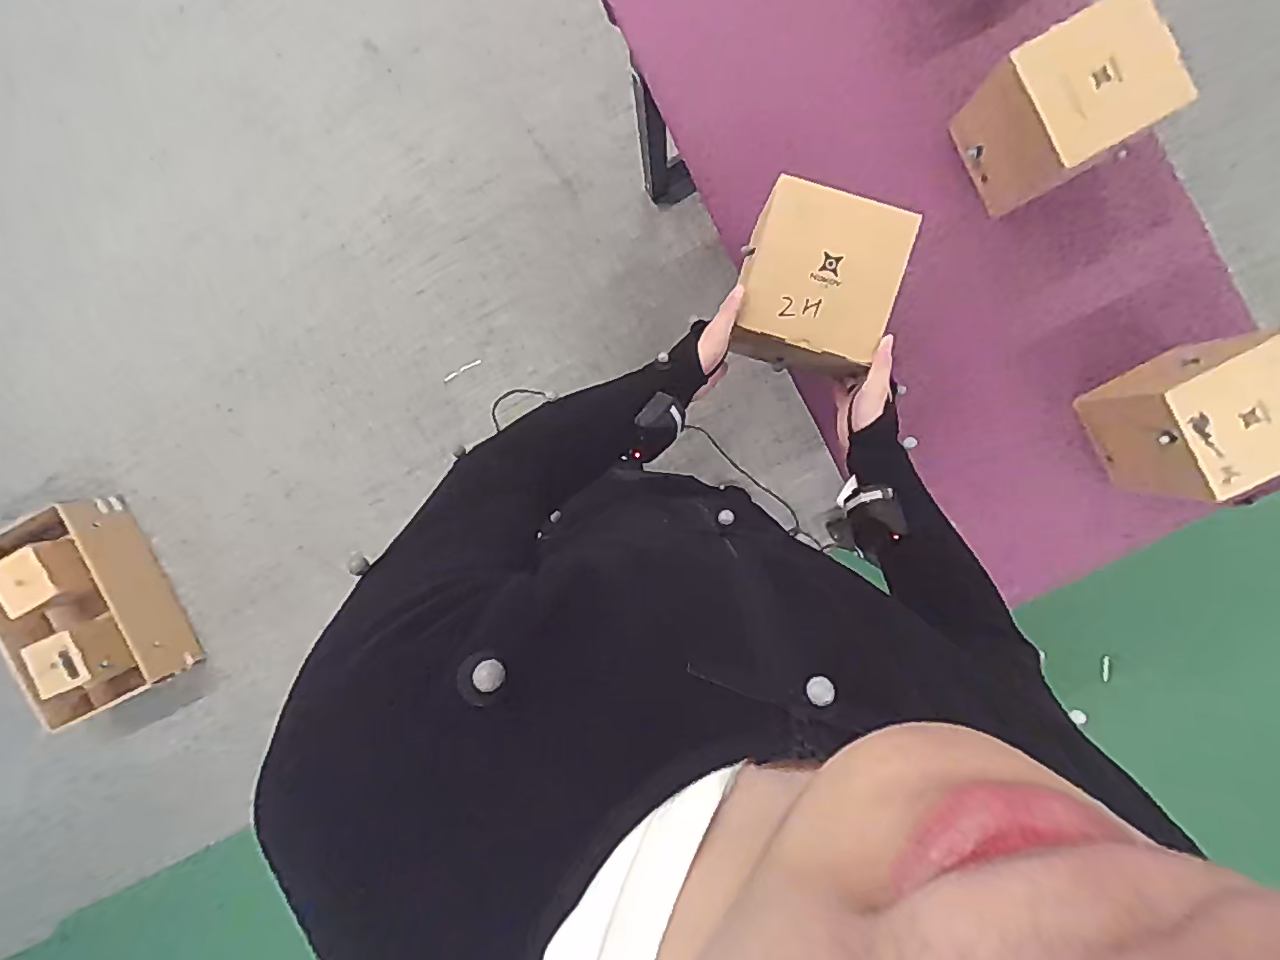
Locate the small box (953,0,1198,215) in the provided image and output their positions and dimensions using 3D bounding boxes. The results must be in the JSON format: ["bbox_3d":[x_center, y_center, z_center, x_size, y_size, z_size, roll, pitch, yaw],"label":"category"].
[{"bbox_3d":[0.586,-0.511,0.753,0.179,0.176,0.168,-27,92,6],"label":"small box"}]

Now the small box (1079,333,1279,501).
[{"bbox_3d":[0.795,-0.088,0.770,0.179,0.176,0.168,-29,91,5],"label":"small box"}]

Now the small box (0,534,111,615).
[{"bbox_3d":[-1.798,0.282,1.648,0.179,0.176,0.168,-28,92,4],"label":"small box"}]

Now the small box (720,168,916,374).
[{"bbox_3d":[0.207,-0.246,0.683,0.168,0.176,0.179,17,95,1],"label":"small box"}]
